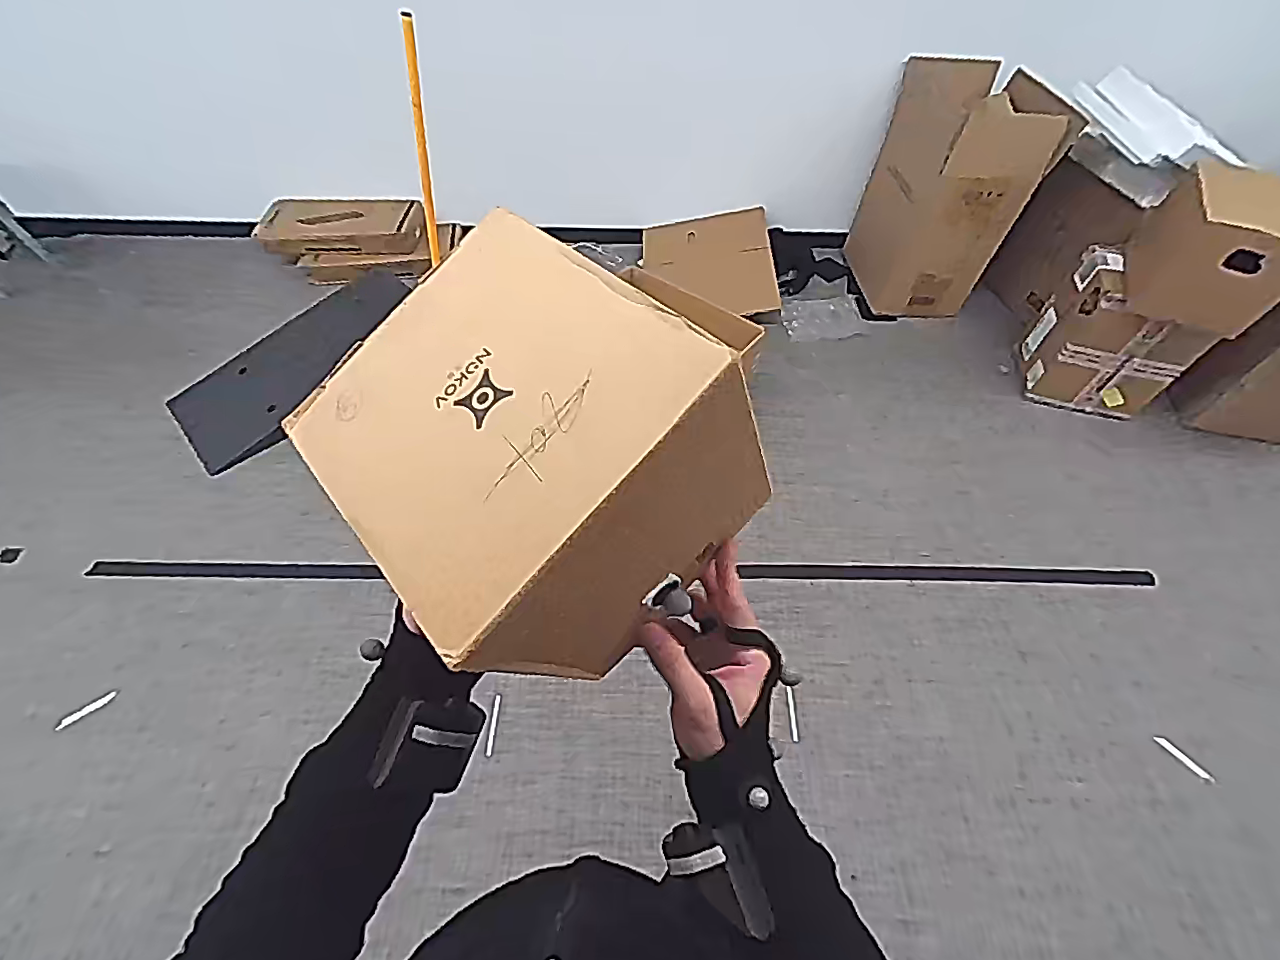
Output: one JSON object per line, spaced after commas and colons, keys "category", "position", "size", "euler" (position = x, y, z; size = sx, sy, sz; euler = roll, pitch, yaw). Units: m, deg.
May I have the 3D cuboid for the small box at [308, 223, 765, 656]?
{"category": "small box", "position": [-0.045, -0.009, 0.331], "size": [0.179, 0.176, 0.168], "euler": [40, 86, 26]}
